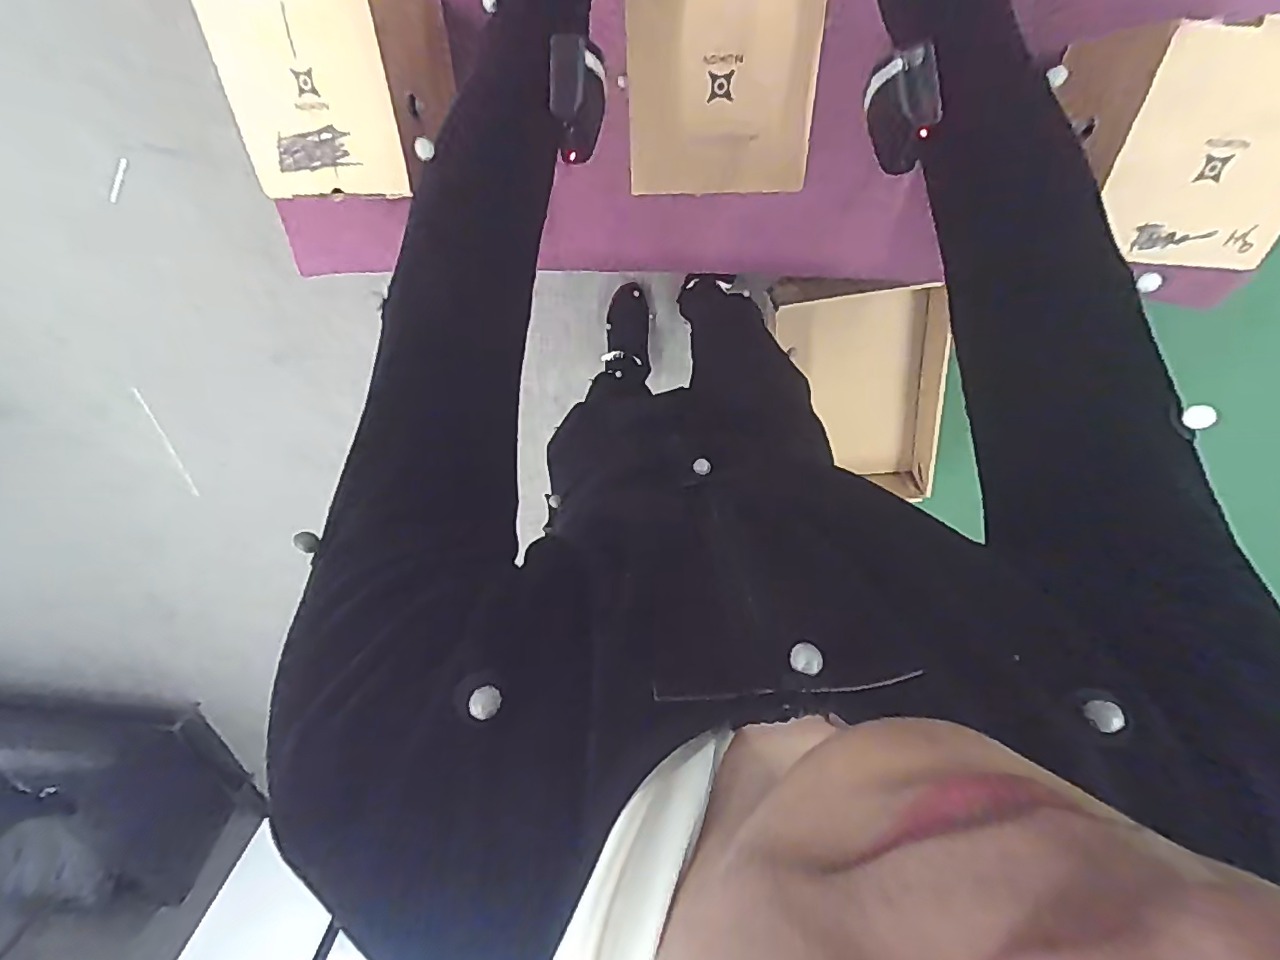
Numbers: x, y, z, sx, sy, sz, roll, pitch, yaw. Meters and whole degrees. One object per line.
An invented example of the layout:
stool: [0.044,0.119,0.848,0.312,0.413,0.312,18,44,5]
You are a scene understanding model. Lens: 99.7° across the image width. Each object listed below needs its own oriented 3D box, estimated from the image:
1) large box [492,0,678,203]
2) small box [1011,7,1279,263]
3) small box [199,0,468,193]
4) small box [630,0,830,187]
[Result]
large box: [-0.077,-0.801,1.085,0.320,0.320,0.408,1,124,6]
small box: [0.502,-0.321,0.521,0.168,0.176,0.179,7,123,5]
small box: [-0.300,-0.413,0.574,0.168,0.176,0.179,2,123,6]
small box: [0.082,-0.396,0.533,0.168,0.176,0.179,3,124,7]
